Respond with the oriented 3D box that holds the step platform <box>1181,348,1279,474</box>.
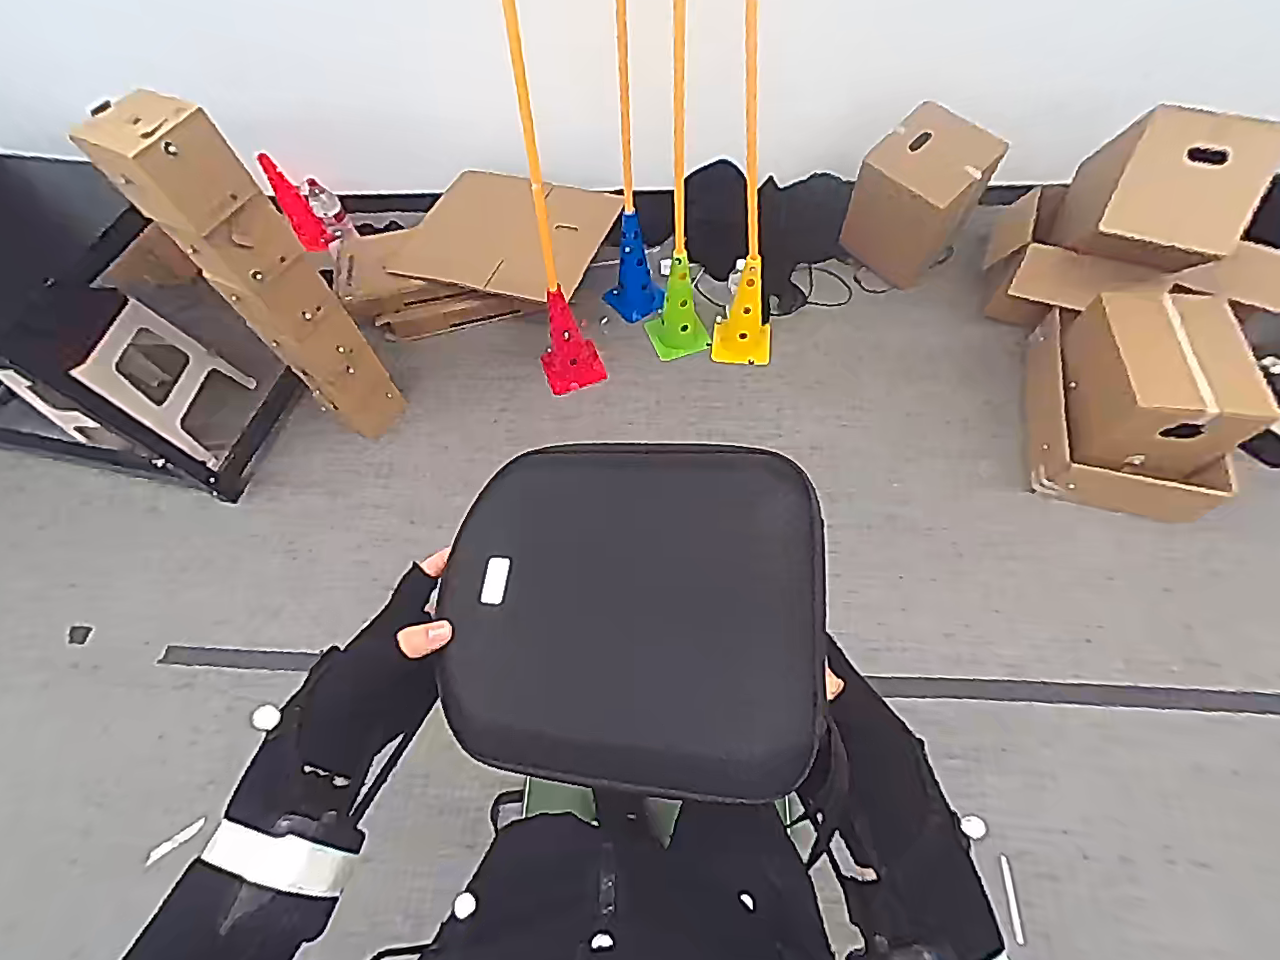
[{"bbox_3d":[2.056,-0.286,1.634,0.684,0.204,0.286,-24,63,-10],"label":"step platform"}]
